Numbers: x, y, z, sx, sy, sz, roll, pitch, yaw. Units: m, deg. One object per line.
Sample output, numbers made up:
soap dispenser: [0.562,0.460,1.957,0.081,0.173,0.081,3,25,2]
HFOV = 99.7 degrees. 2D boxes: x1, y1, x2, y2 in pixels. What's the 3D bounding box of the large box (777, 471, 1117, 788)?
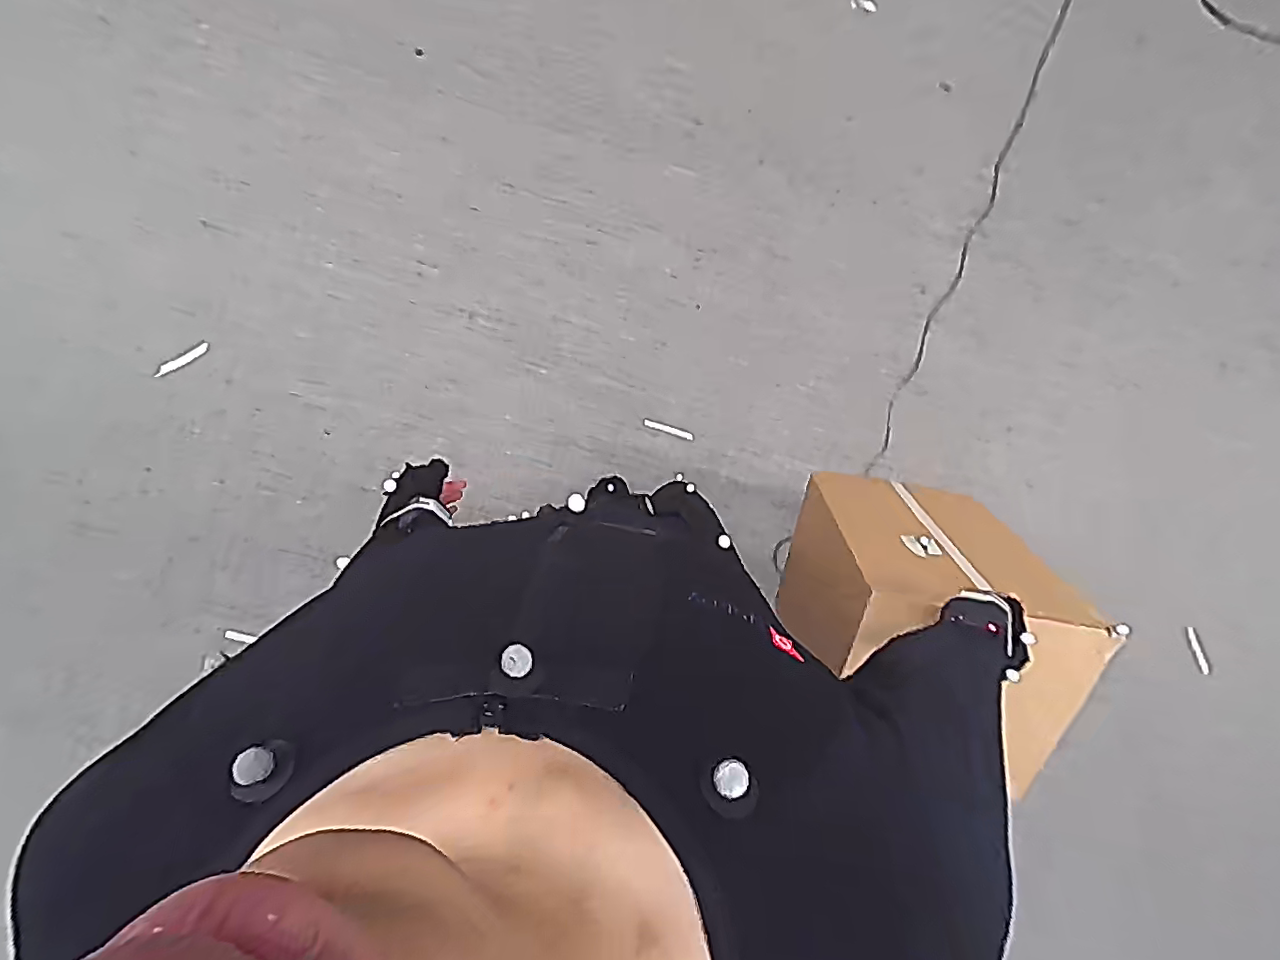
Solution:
large box: [0.448,0.223,0.925,0.320,0.408,0.320,9,115,2]
